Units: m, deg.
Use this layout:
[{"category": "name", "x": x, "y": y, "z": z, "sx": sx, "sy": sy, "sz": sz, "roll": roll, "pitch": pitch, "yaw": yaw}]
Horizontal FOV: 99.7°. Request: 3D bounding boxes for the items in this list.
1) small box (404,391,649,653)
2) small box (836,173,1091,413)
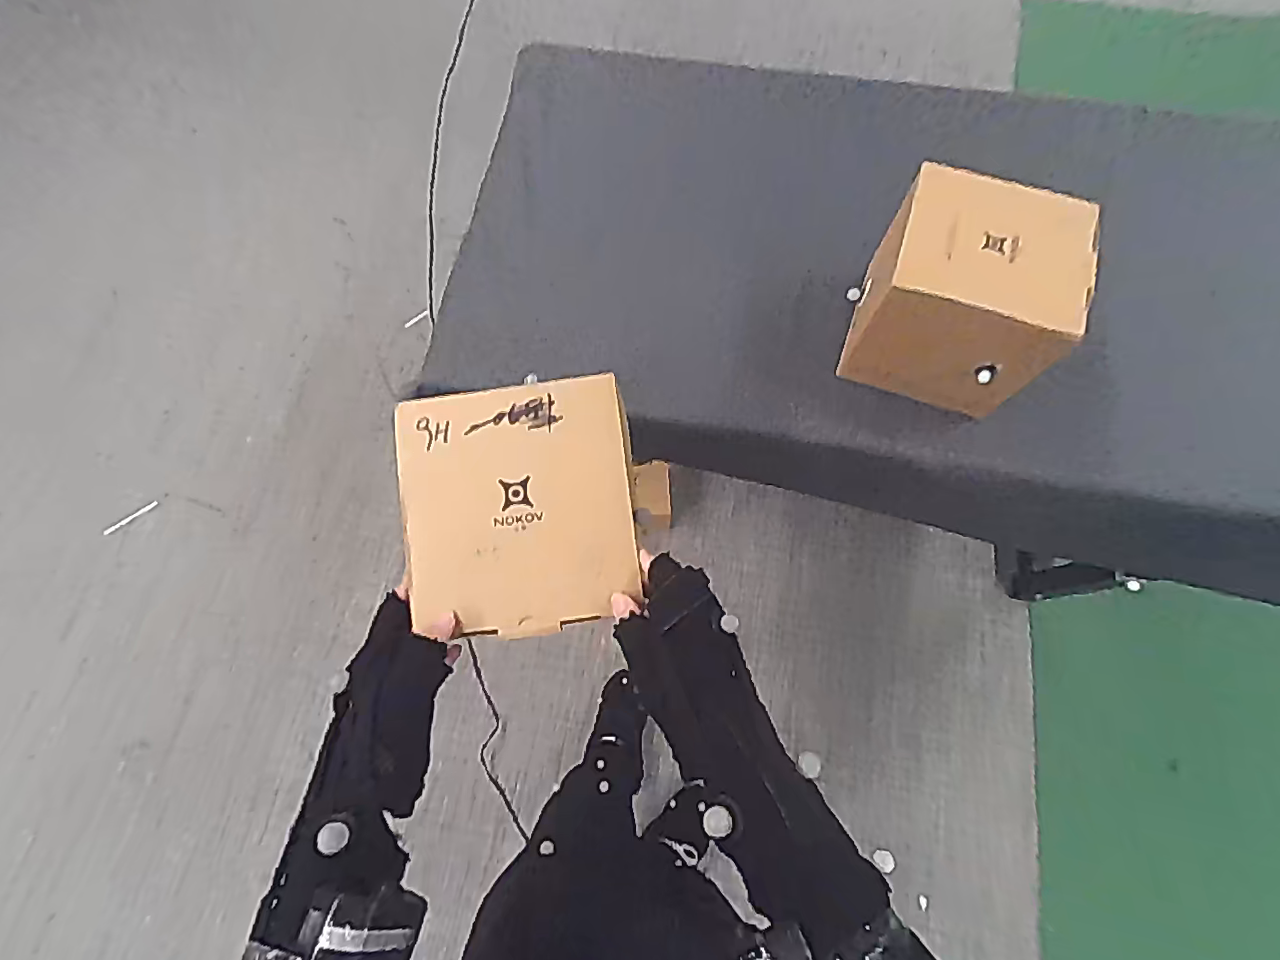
[{"category": "small box", "x": -0.083, "y": 0.036, "z": 0.472, "sx": 0.168, "sy": 0.176, "sz": 0.179, "roll": -8, "pitch": 84, "yaw": 0}, {"category": "small box", "x": 0.345, "y": -0.195, "z": 0.603, "sx": 0.179, "sy": 0.176, "sz": 0.168, "roll": 18, "pitch": 71, "yaw": 8}]
